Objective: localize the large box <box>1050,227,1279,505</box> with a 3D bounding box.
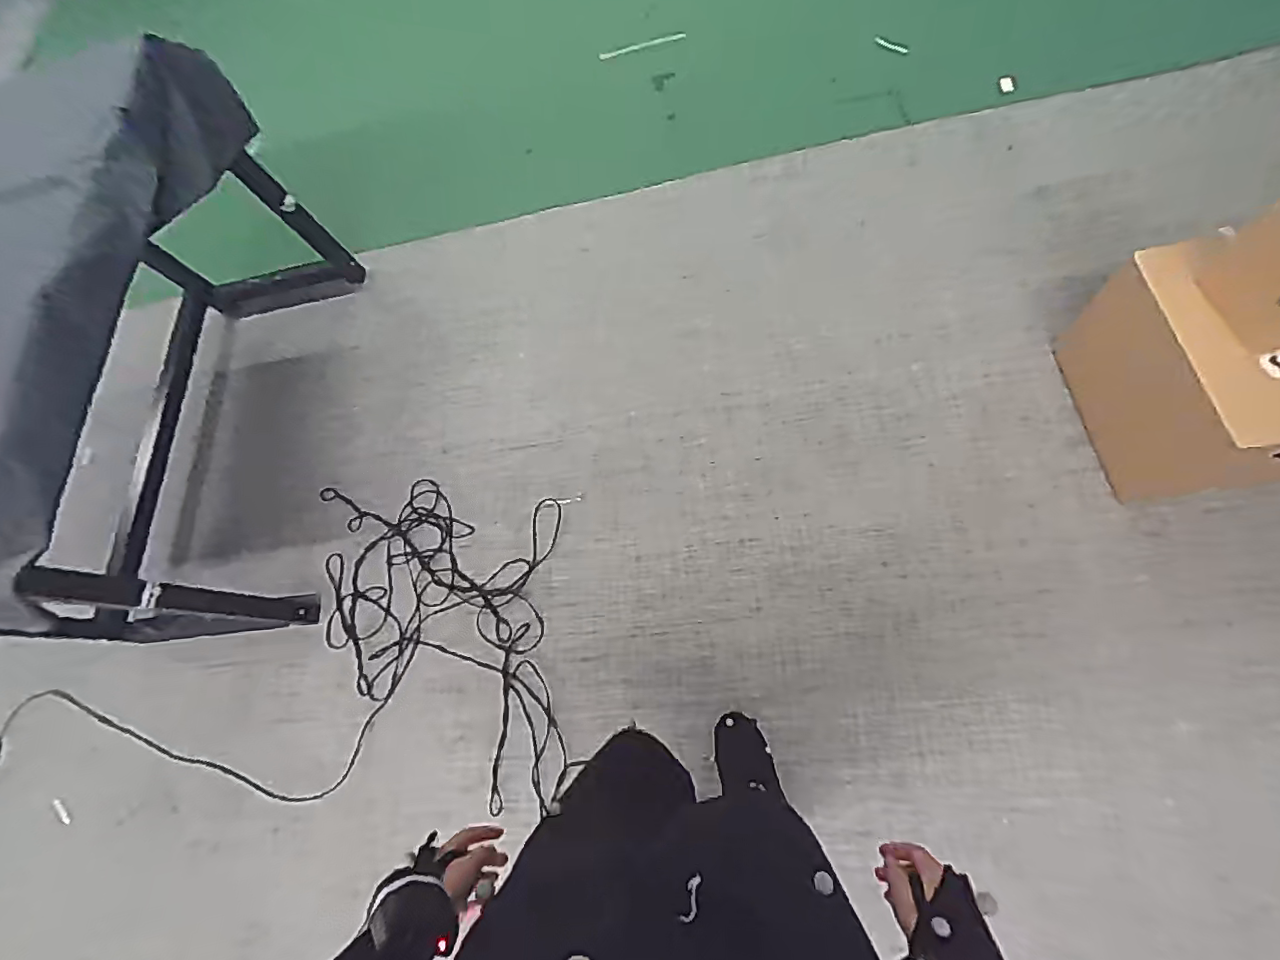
[{"bbox_3d":[1.101,-0.203,1.046,0.320,0.320,0.408,-11,70,10],"label":"large box"}]
